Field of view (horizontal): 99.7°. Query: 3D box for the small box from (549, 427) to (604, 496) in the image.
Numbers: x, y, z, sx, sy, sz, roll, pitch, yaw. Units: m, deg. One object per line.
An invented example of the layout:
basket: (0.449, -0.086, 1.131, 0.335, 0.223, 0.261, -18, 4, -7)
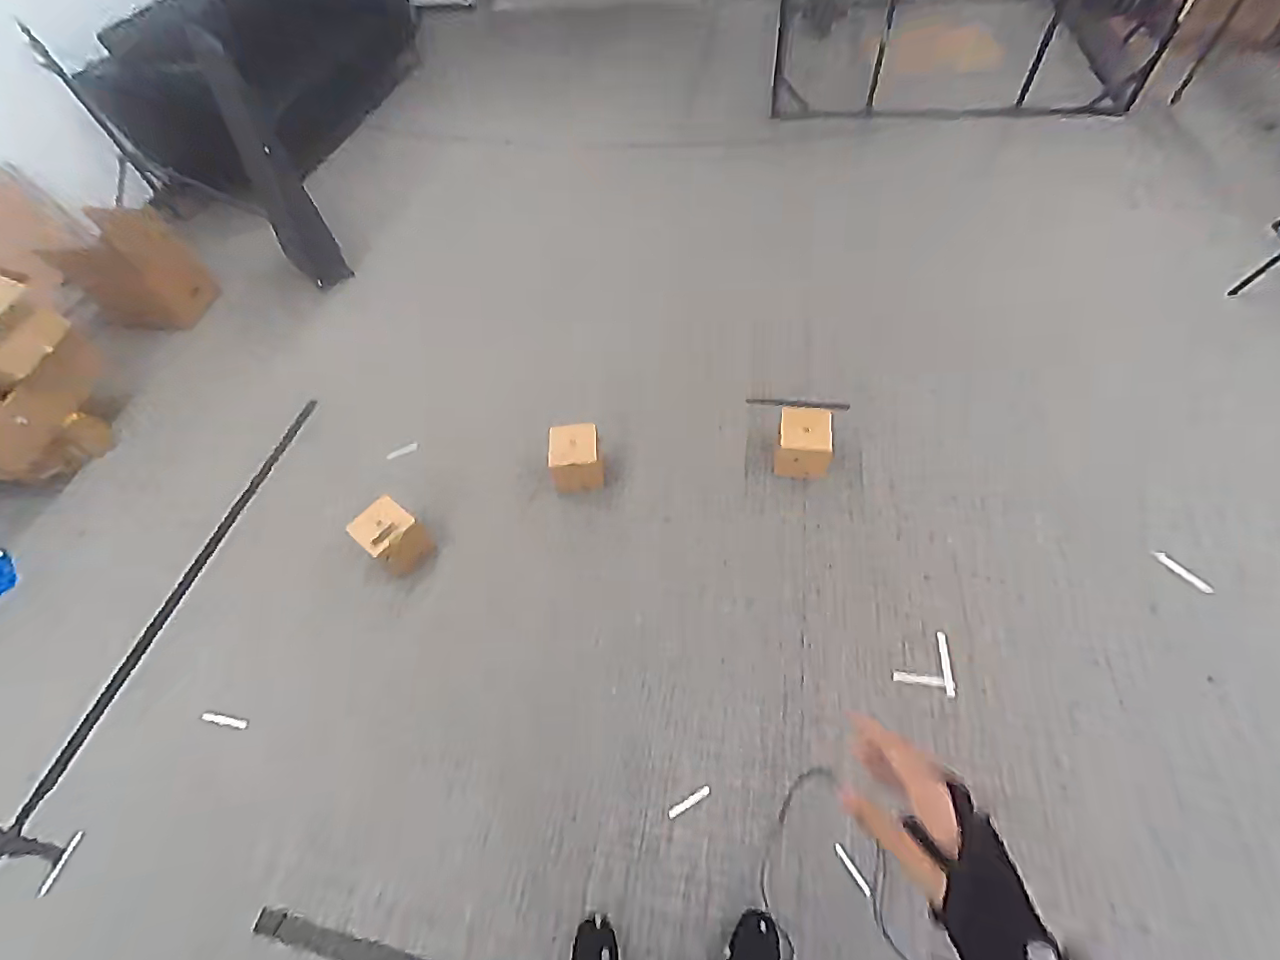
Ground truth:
small box: (-0.223, -0.064, 1.920, 0.168, 0.176, 0.179, -6, 55, 2)

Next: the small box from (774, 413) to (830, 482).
small box: (0.561, -0.109, 1.874, 0.168, 0.176, 0.179, 5, 55, 9)
